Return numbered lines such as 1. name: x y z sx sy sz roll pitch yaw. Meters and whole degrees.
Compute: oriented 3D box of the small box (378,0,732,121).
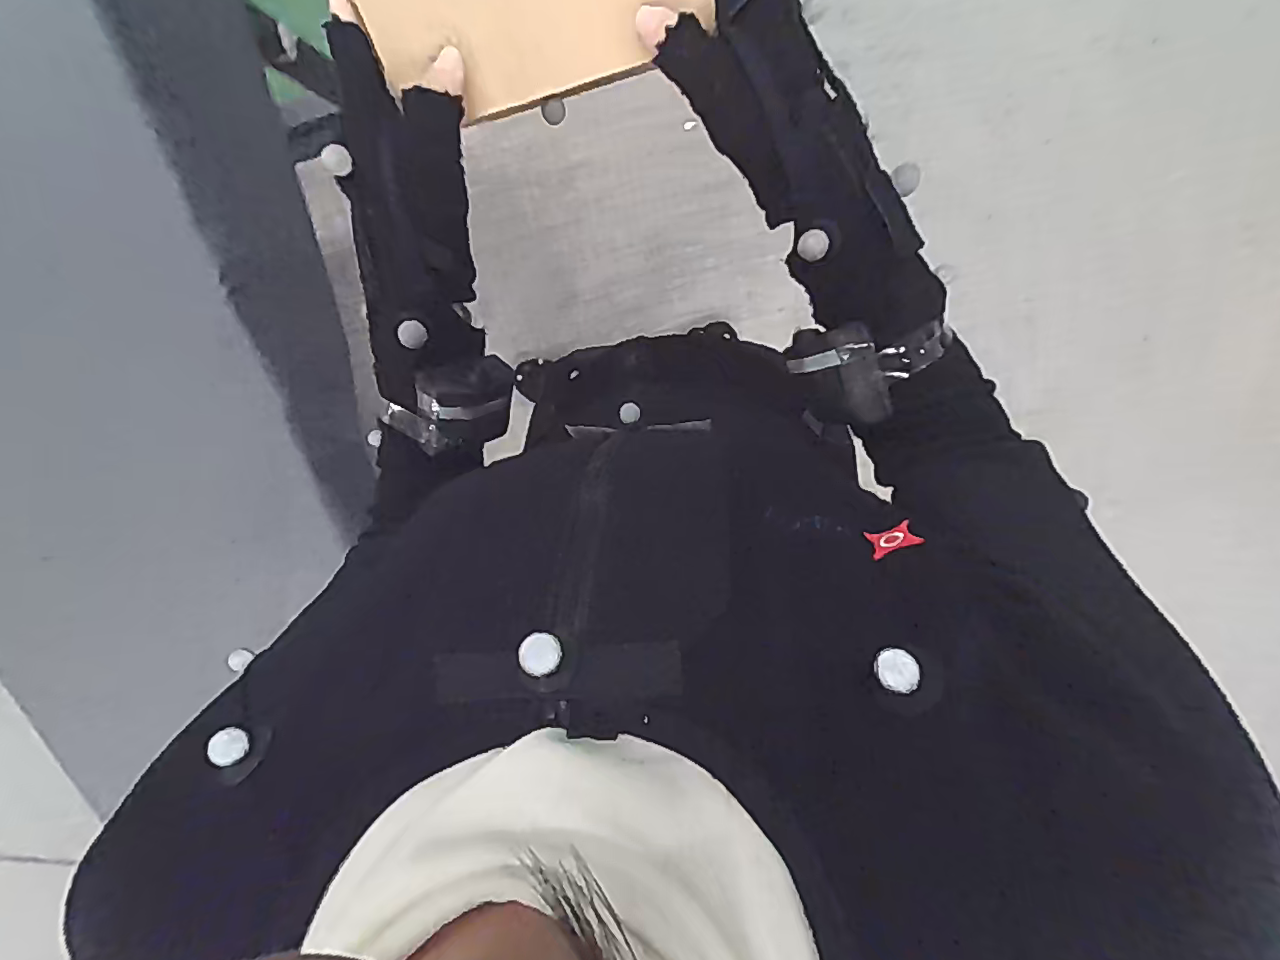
1. small box: -0.053 -0.325 0.311 0.179 0.176 0.168 -12 123 11
